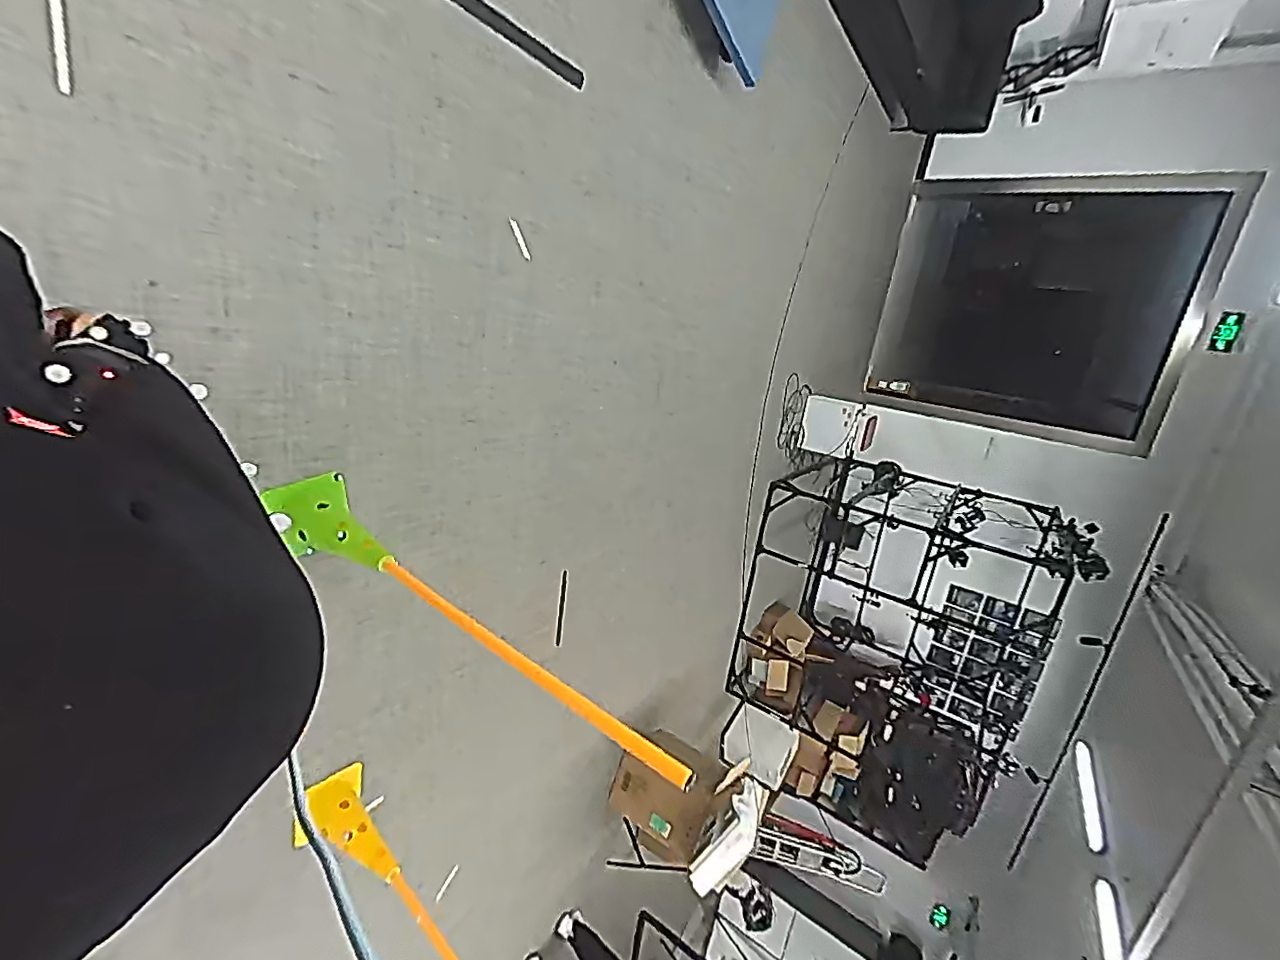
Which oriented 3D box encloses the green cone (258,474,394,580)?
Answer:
[{"bbox_3d":[-0.718,0.149,1.299,0.200,0.368,0.202,-28,130,-49],"label":"green cone"}]
